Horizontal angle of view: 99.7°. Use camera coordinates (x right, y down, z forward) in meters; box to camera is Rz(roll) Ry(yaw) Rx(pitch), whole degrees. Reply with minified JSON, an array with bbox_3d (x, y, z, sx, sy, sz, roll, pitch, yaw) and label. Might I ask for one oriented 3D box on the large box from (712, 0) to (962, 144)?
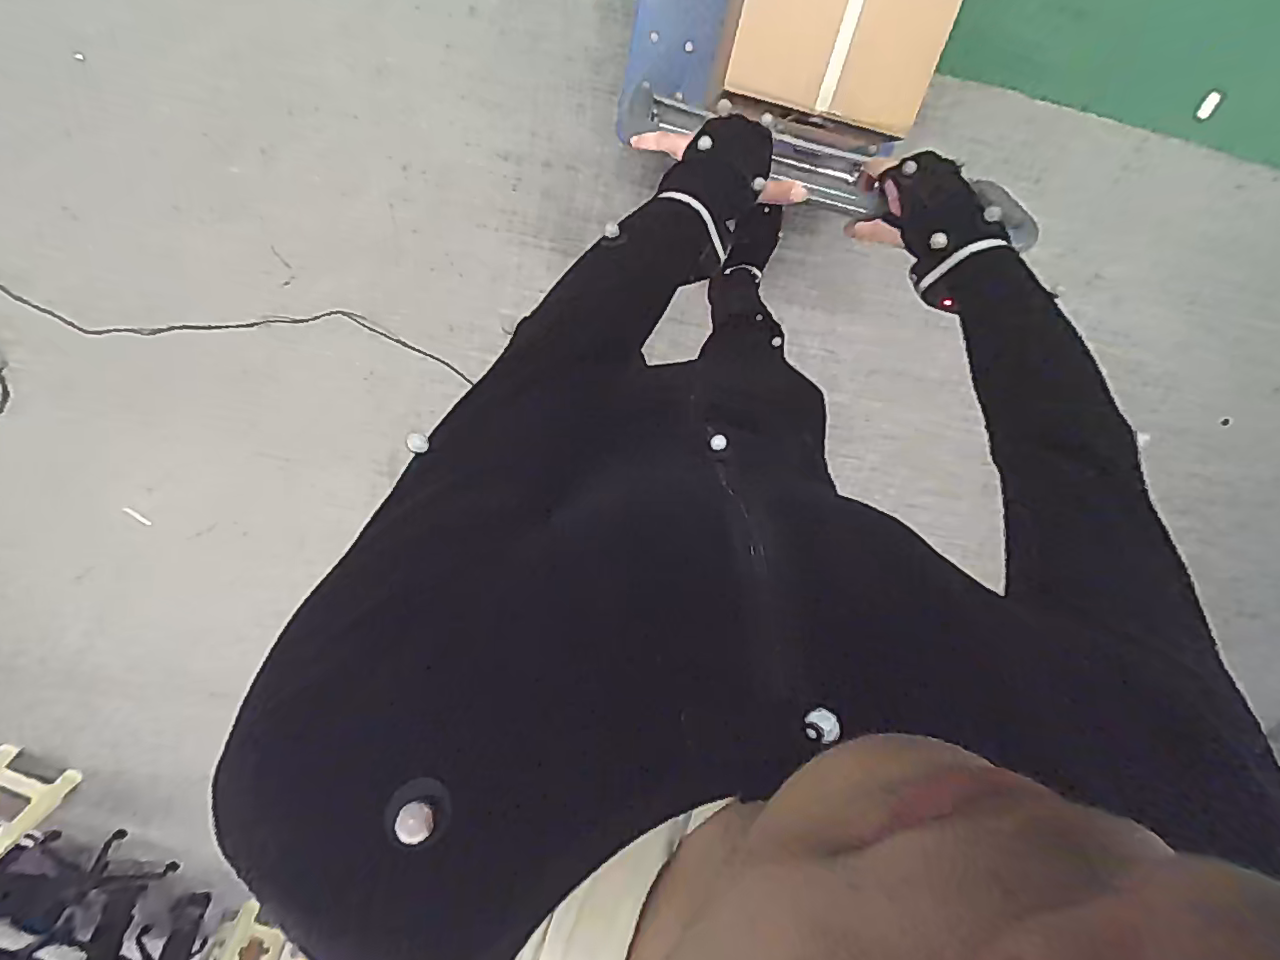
[{"bbox_3d":[0.325,-0.818,0.884,0.320,0.320,0.408,10,118,-6],"label":"large box"}]
